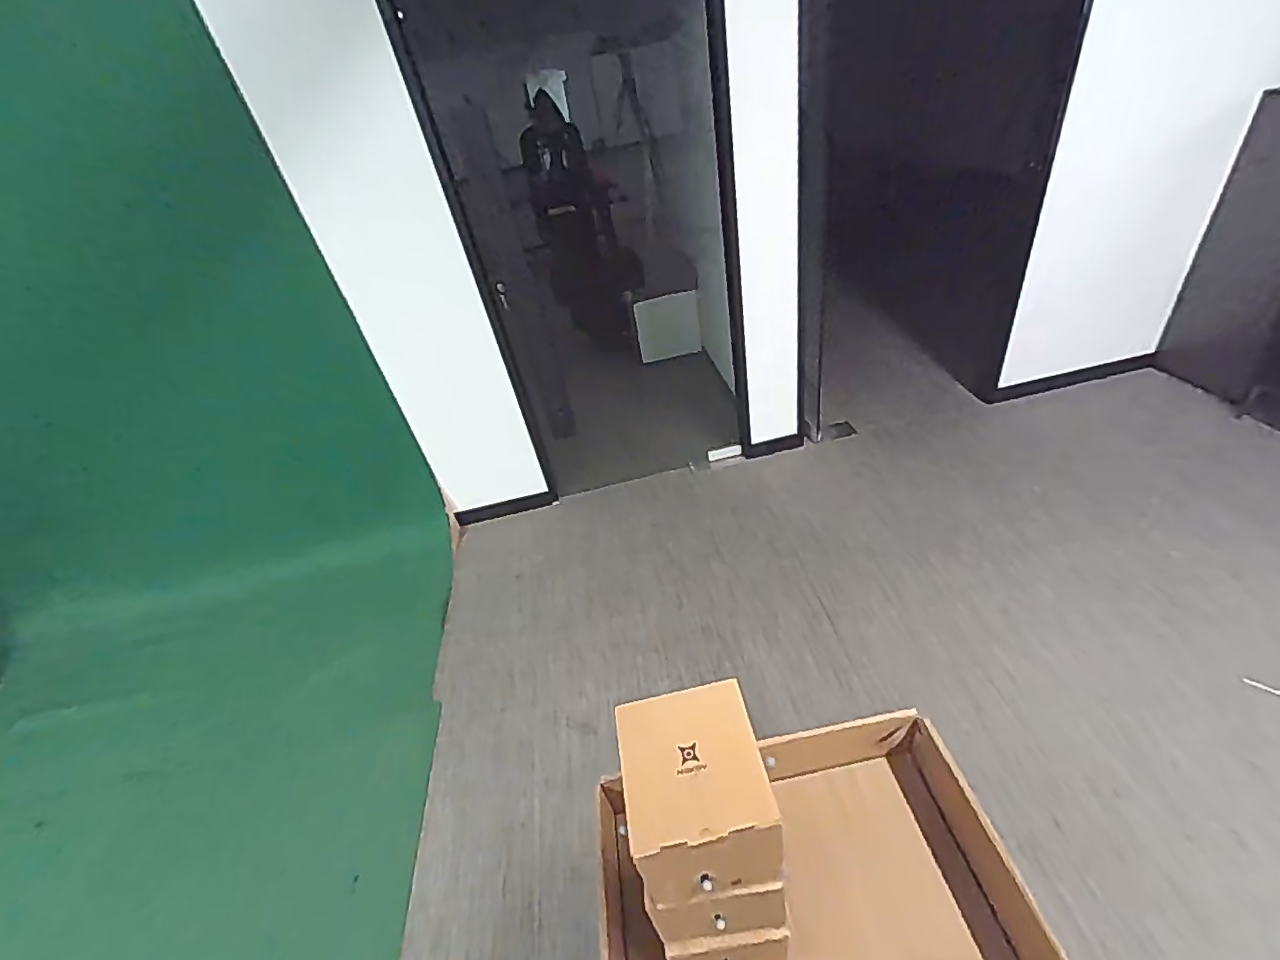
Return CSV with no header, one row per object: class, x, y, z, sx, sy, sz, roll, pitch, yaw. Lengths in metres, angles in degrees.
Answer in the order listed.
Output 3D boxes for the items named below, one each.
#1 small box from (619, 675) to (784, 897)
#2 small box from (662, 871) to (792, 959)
small box,0.074,0.383,0.683,0.168,0.176,0.179,-13,37,0
small box,0.131,0.653,0.858,0.179,0.176,0.168,-11,36,2
